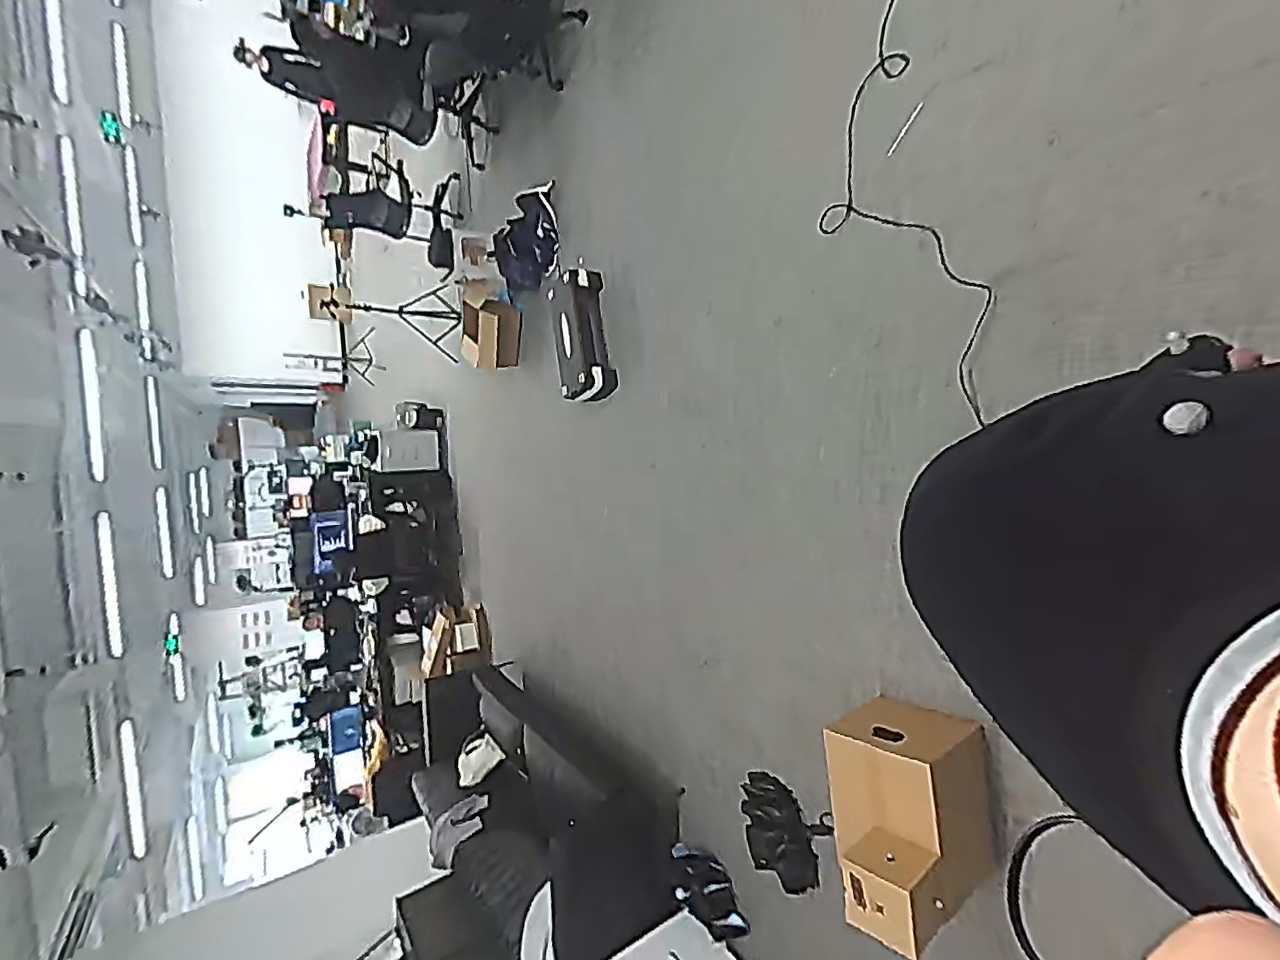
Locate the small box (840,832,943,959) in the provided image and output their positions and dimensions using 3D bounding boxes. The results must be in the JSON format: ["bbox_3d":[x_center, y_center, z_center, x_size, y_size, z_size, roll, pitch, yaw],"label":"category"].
[{"bbox_3d":[0.628,1.021,1.350,0.179,0.176,0.168,-5,90,50],"label":"small box"}]
